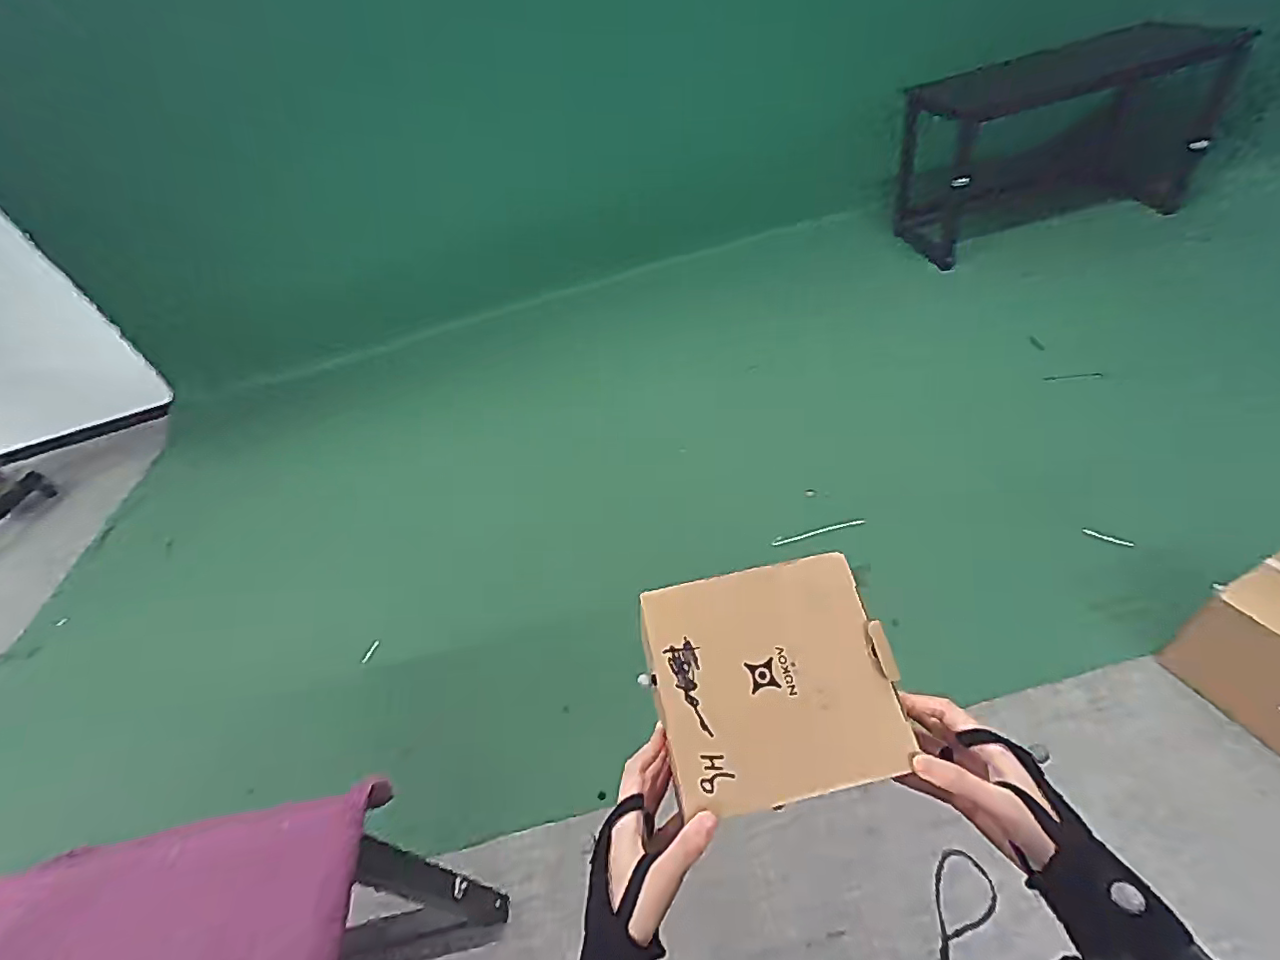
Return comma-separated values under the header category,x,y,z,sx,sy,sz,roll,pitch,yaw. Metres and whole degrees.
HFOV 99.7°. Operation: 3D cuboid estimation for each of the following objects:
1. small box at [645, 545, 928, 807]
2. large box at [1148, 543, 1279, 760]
category,x,y,z,sx,sy,sz,roll,pitch,yaw
small box,0.104,0.172,0.477,0.179,0.176,0.168,-9,64,-5
large box,1.459,0.401,1.151,0.320,0.320,0.408,-25,43,-10
